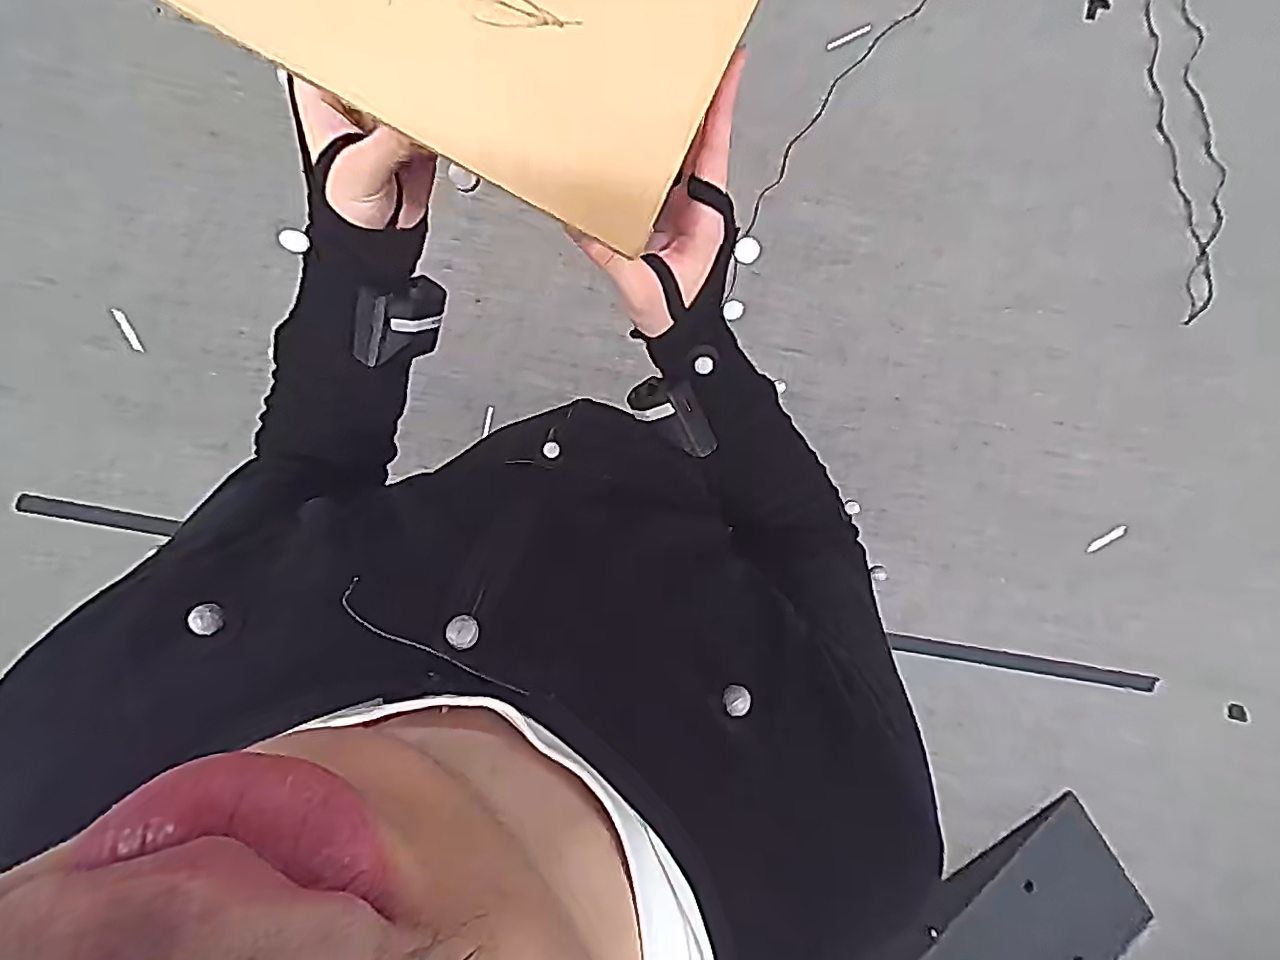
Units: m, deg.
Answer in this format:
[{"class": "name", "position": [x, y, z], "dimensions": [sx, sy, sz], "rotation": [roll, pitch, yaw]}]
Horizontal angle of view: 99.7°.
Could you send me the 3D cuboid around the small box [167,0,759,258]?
[{"class": "small box", "position": [-0.035, -0.214, 0.213], "dimensions": [0.168, 0.176, 0.179], "rotation": [25, 113, -10]}]
